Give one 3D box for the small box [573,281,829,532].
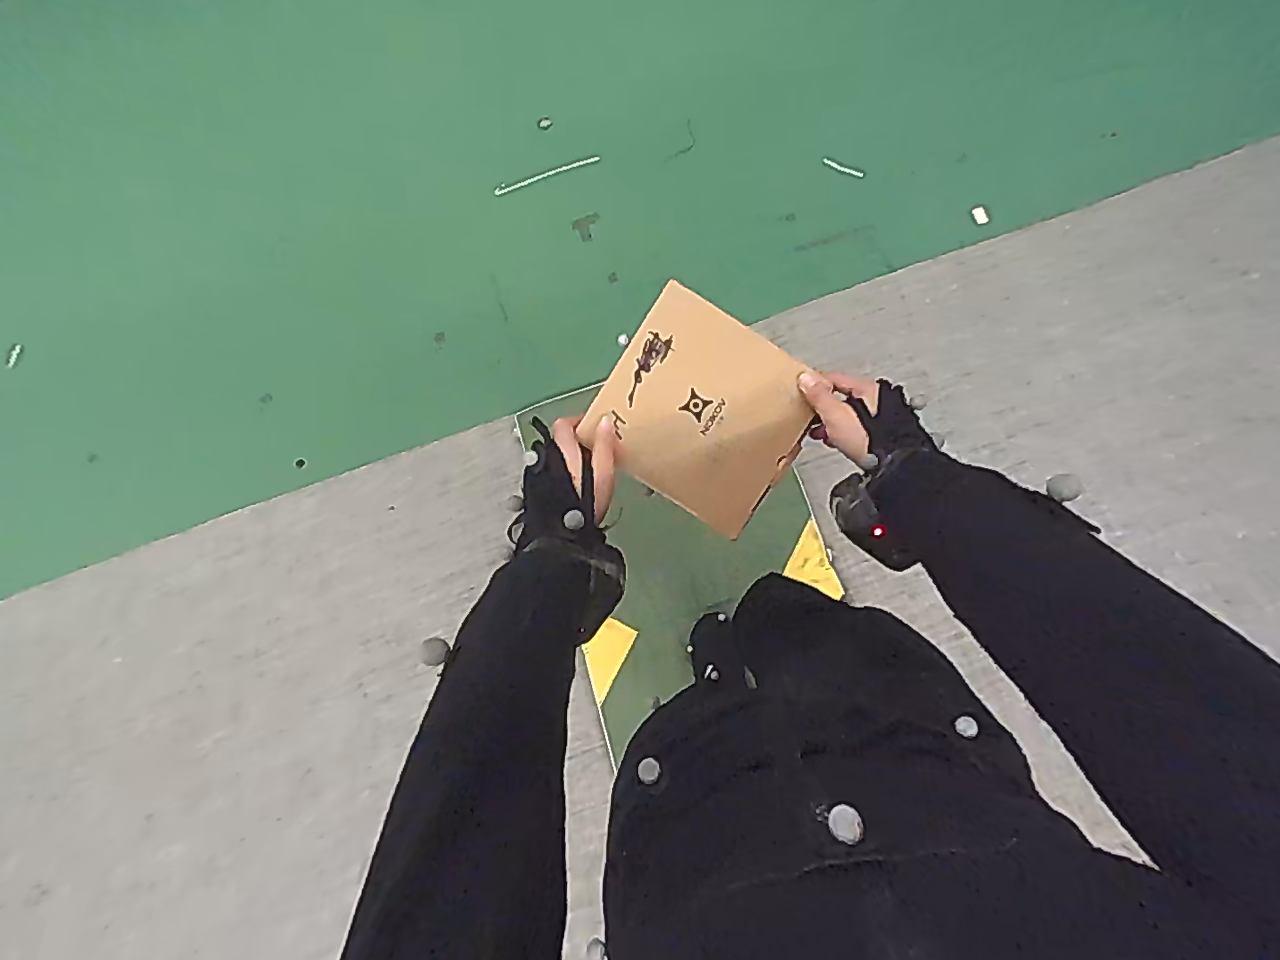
[{"bbox_3d":[0.055,-0.071,0.564,0.179,0.176,0.168,33,93,-2],"label":"small box"}]
